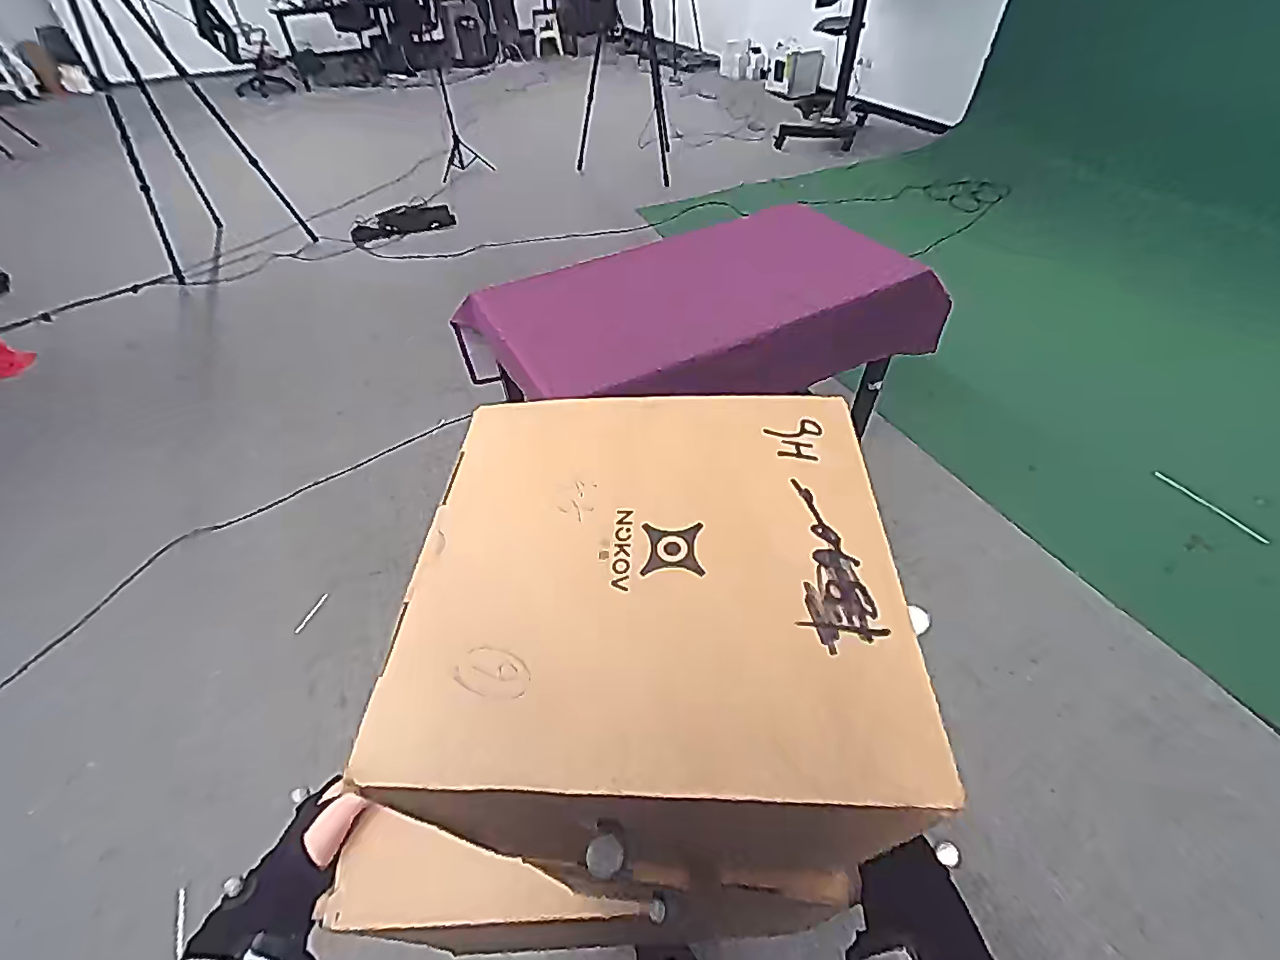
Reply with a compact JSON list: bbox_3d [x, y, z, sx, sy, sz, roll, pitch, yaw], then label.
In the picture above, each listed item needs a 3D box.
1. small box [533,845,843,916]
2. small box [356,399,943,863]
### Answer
[{"bbox_3d":[0.035,0.188,0.388,0.168,0.176,0.179,3,50,8],"label":"small box"},{"bbox_3d":[0.010,0.079,0.266,0.179,0.176,0.168,-1,51,6],"label":"small box"}]
